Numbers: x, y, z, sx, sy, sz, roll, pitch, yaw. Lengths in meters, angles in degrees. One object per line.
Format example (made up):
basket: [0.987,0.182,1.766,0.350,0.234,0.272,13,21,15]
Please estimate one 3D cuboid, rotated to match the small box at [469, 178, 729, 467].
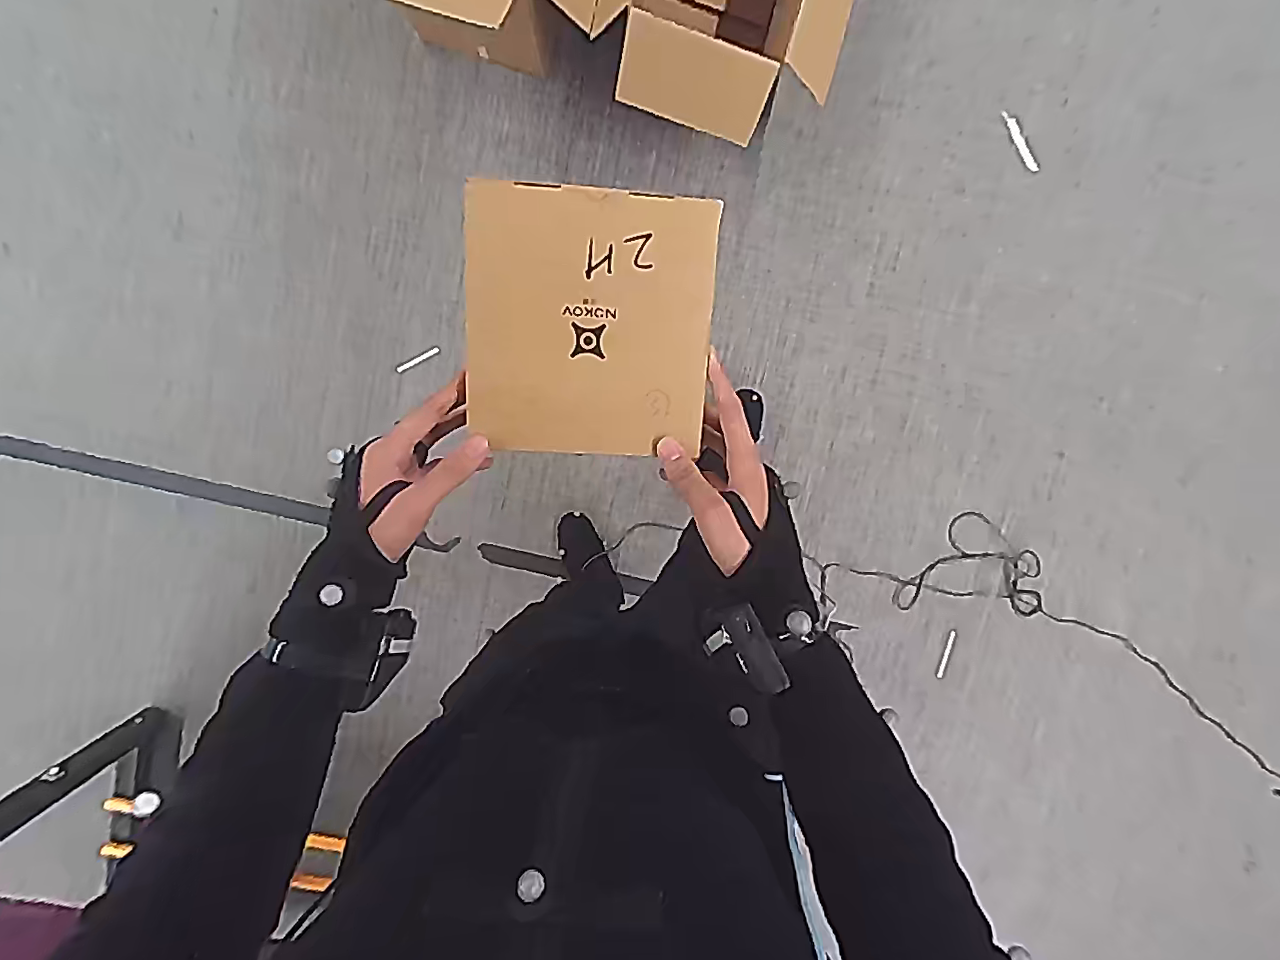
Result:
small box: [-0.036,-0.116,0.436,0.168,0.176,0.179,3,102,-6]
